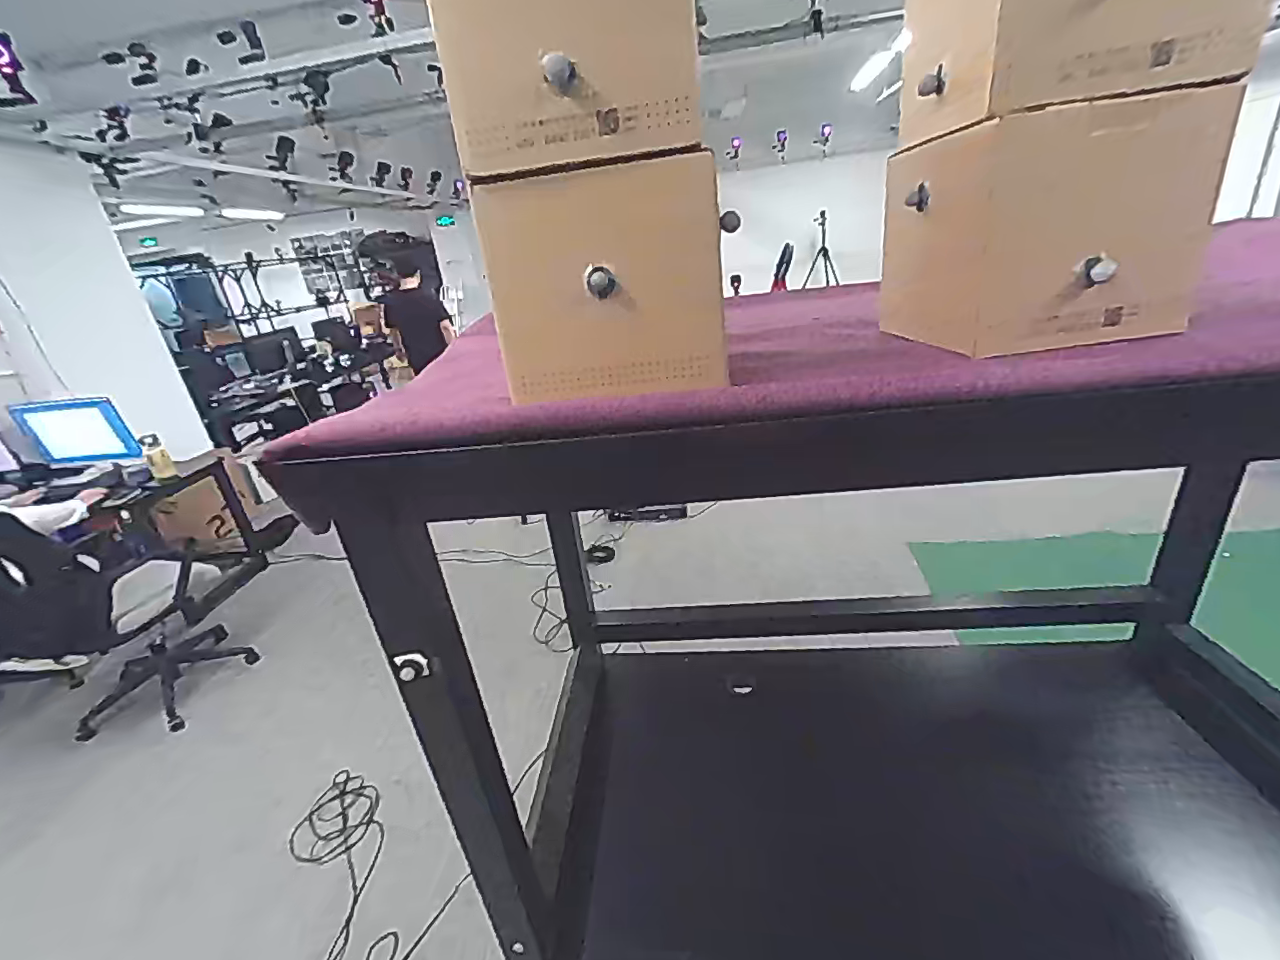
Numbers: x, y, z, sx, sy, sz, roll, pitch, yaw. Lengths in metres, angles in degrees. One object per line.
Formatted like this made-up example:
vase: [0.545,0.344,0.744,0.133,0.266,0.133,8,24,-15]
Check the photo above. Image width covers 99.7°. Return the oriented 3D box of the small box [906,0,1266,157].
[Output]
small box: [0.320,-0.360,0.408,0.168,0.176,0.179,-5,24,6]

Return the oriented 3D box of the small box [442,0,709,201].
small box: [-0.040,-0.315,0.406,0.168,0.176,0.179,-6,23,5]
